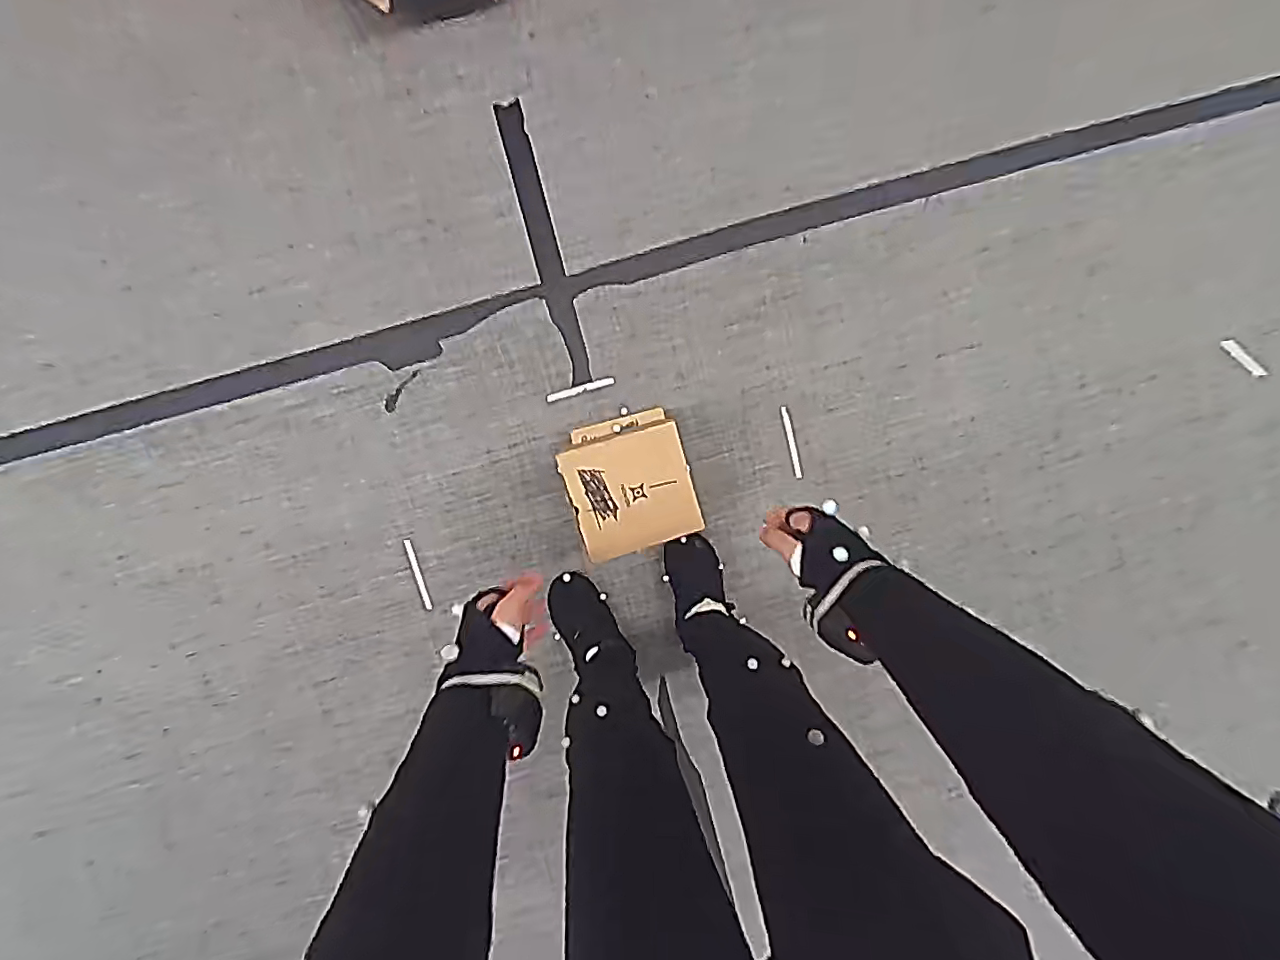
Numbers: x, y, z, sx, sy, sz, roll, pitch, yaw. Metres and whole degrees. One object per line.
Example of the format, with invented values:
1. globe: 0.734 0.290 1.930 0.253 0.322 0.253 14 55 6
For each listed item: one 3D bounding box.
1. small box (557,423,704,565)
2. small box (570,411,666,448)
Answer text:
1. small box: -0.017 0.013 0.840 0.179 0.176 0.168 -17 99 -3
2. small box: -0.025 -0.026 1.003 0.168 0.176 0.179 -15 99 -3
